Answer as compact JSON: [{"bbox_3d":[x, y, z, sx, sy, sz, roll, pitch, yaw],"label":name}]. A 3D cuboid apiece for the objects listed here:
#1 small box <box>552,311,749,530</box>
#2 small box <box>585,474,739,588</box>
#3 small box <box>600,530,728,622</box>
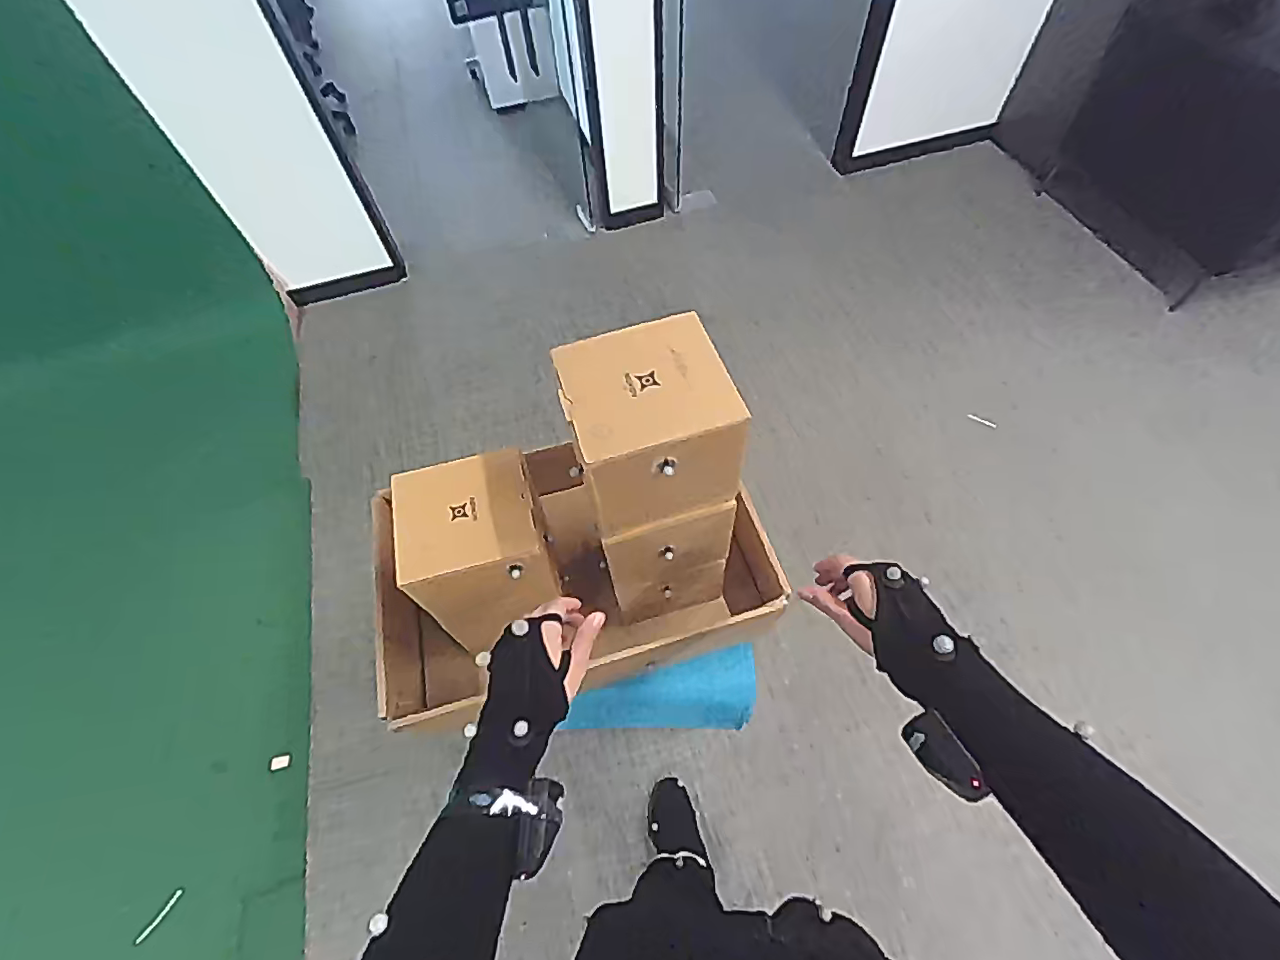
[{"bbox_3d":[0.012,-0.061,0.632,0.179,0.176,0.168,-16,58,-5],"label":"small box"},{"bbox_3d":[0.025,0.031,0.766,0.179,0.176,0.168,-16,58,-4],"label":"small box"},{"bbox_3d":[0.037,0.119,0.903,0.179,0.176,0.168,-15,58,-4],"label":"small box"}]
